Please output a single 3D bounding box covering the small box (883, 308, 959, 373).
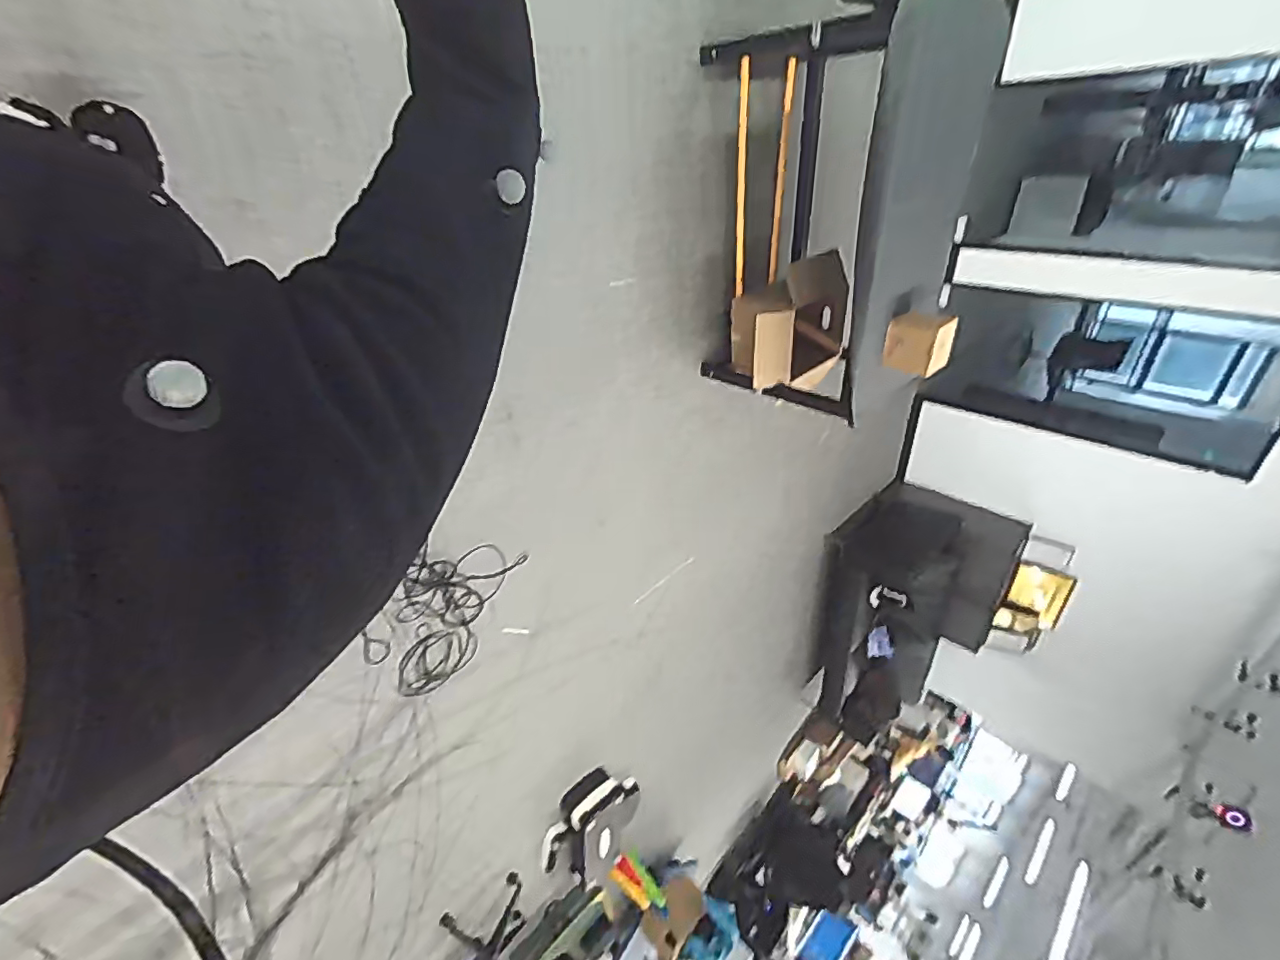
[{"bbox_3d":[0.992,-0.500,1.916,0.179,0.176,0.168,-30,131,-34],"label":"small box"}]
